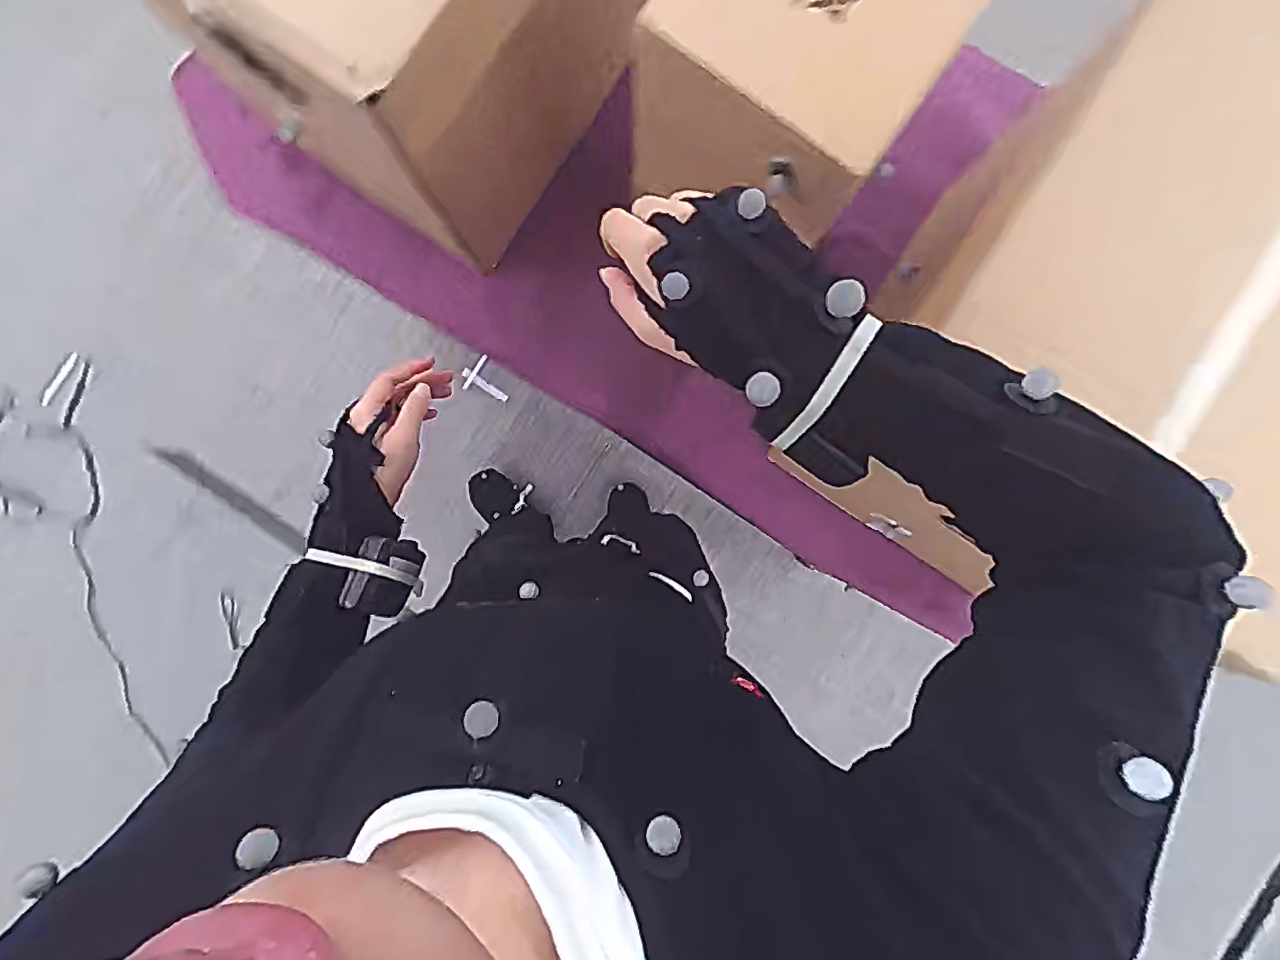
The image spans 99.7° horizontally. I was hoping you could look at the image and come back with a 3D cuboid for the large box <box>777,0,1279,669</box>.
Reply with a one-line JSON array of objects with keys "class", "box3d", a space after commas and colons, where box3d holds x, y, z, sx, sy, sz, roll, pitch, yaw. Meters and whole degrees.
[{"class": "large box", "box3d": [0.392, -0.114, 0.508, 0.320, 0.320, 0.408, 34, 87, 0]}]
